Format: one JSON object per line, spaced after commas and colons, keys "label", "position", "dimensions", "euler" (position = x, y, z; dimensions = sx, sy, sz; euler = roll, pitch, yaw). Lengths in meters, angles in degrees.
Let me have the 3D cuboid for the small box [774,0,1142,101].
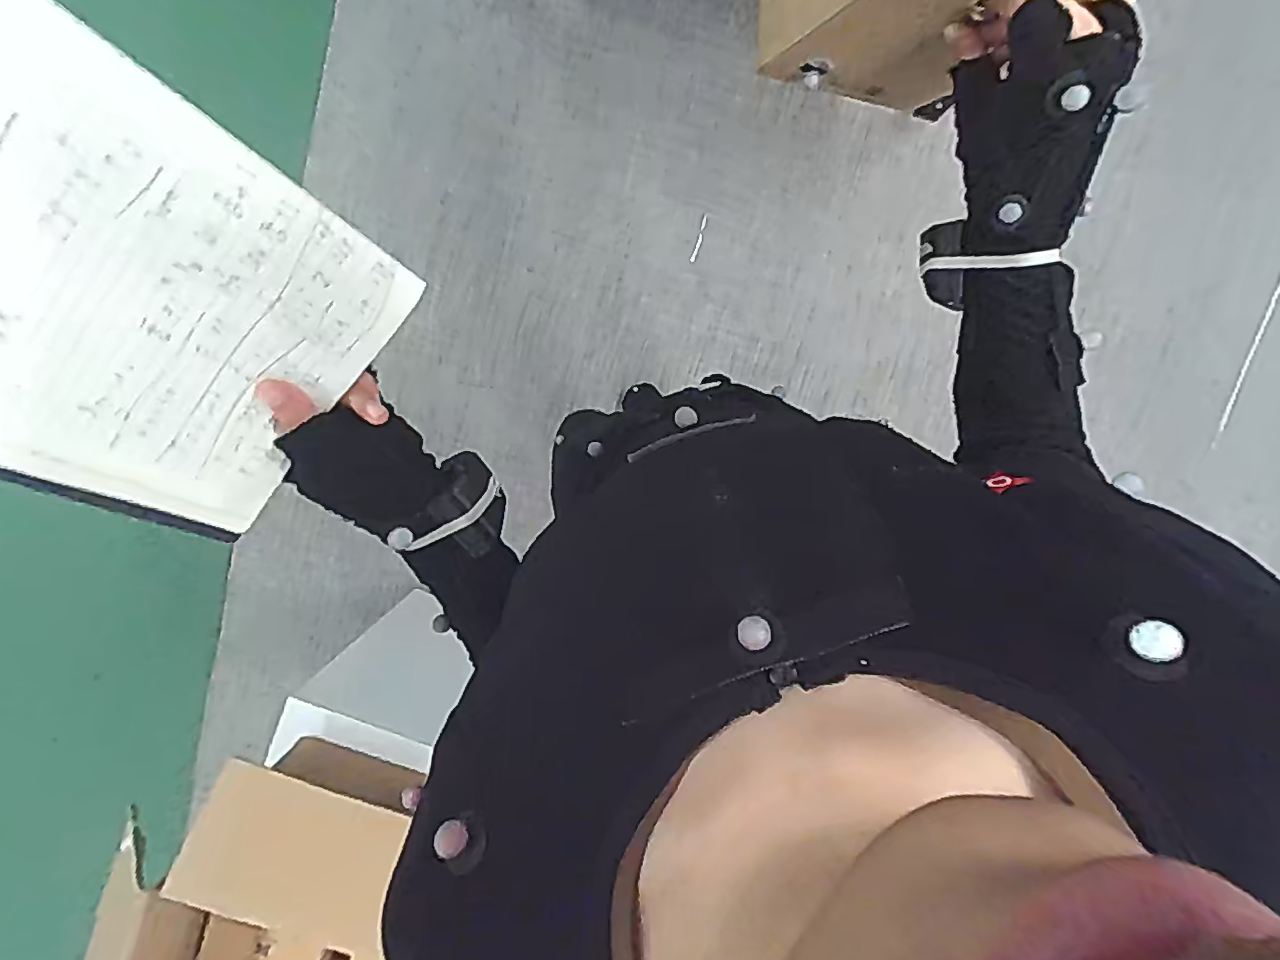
{"label": "small box", "position": [0.207, -0.388, 0.357], "dimensions": [0.168, 0.176, 0.179], "euler": [-4, 106, -23]}
